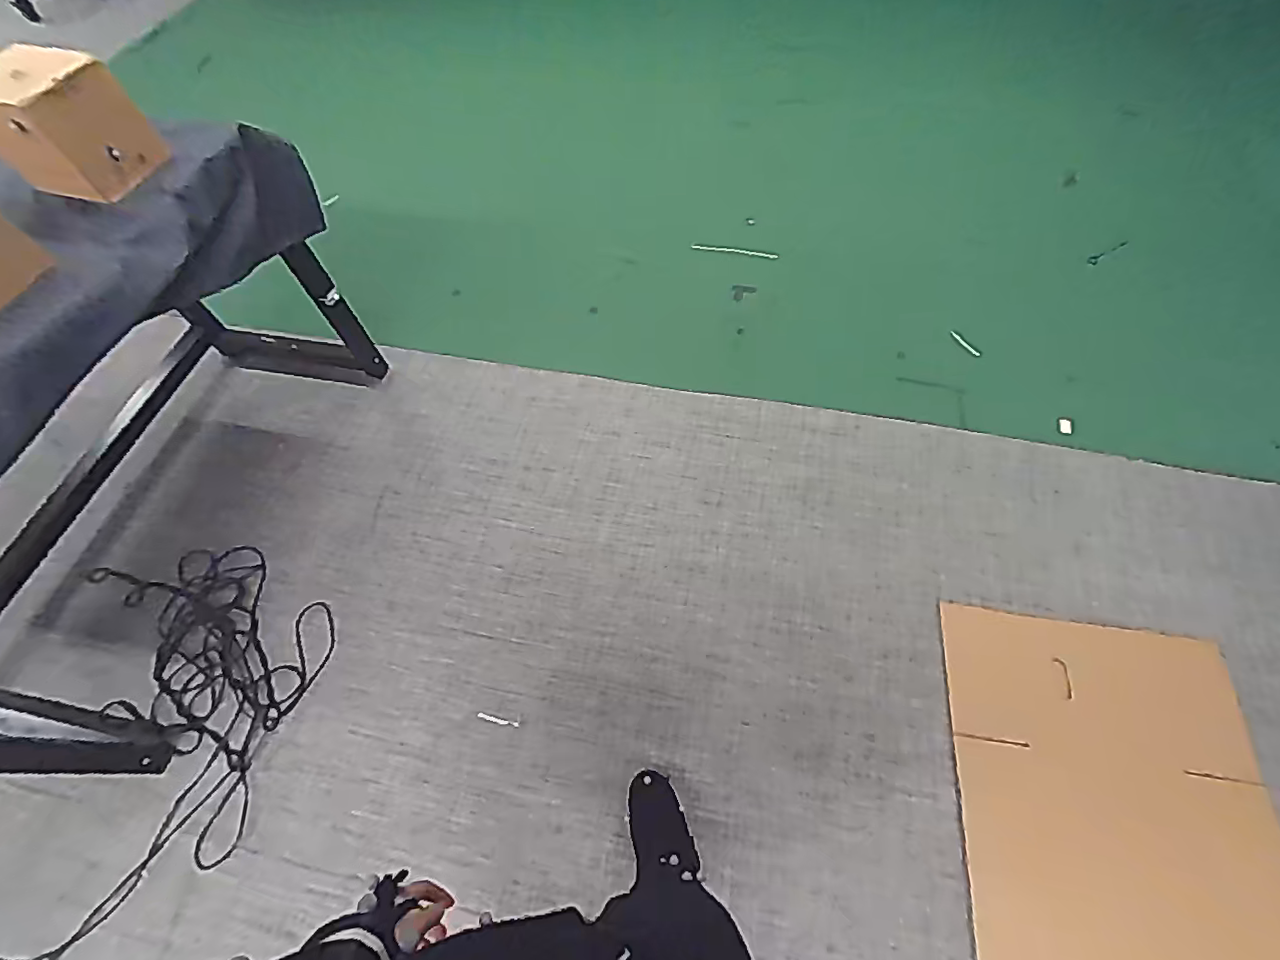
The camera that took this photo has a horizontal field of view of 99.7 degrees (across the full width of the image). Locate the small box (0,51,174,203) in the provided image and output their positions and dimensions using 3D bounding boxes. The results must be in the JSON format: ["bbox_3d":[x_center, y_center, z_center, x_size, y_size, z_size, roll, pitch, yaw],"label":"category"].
[{"bbox_3d":[-1.008,-0.621,0.960,0.179,0.176,0.168,13,62,9],"label":"small box"}]
